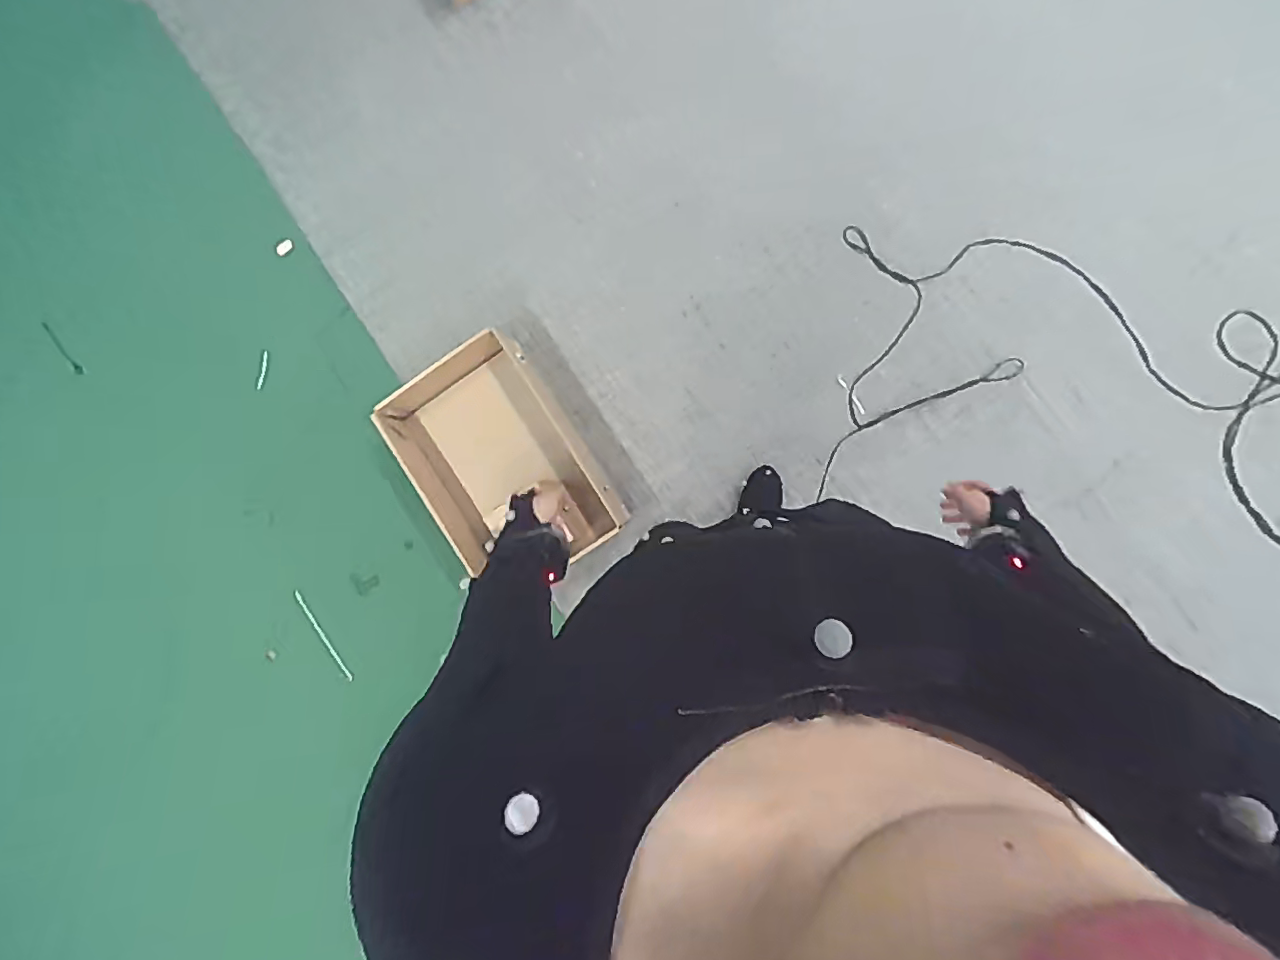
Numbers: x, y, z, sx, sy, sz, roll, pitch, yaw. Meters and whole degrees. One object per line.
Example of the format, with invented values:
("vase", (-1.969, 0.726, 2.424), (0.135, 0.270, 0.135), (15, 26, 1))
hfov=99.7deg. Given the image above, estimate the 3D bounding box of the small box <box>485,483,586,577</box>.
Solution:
("small box", (-0.262, 0.123, 1.389), (0.168, 0.176, 0.179), (-35, 87, 5))
